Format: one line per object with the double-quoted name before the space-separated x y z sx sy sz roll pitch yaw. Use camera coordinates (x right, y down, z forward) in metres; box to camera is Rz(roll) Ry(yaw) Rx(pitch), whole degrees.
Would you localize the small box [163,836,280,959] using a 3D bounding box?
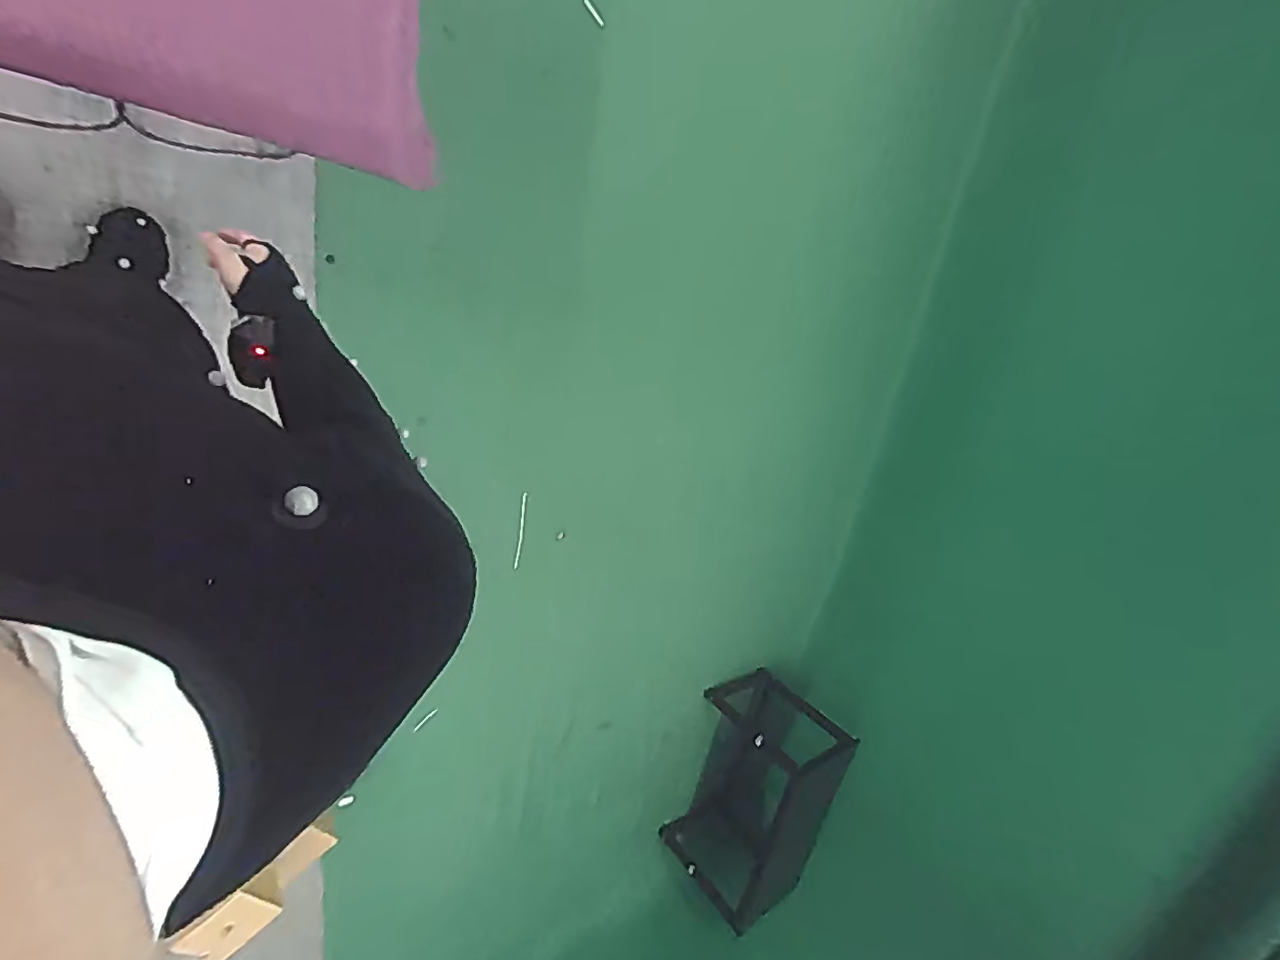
"small box" -1.070 1.073 1.388 0.179 0.176 0.168 -37 132 -22
